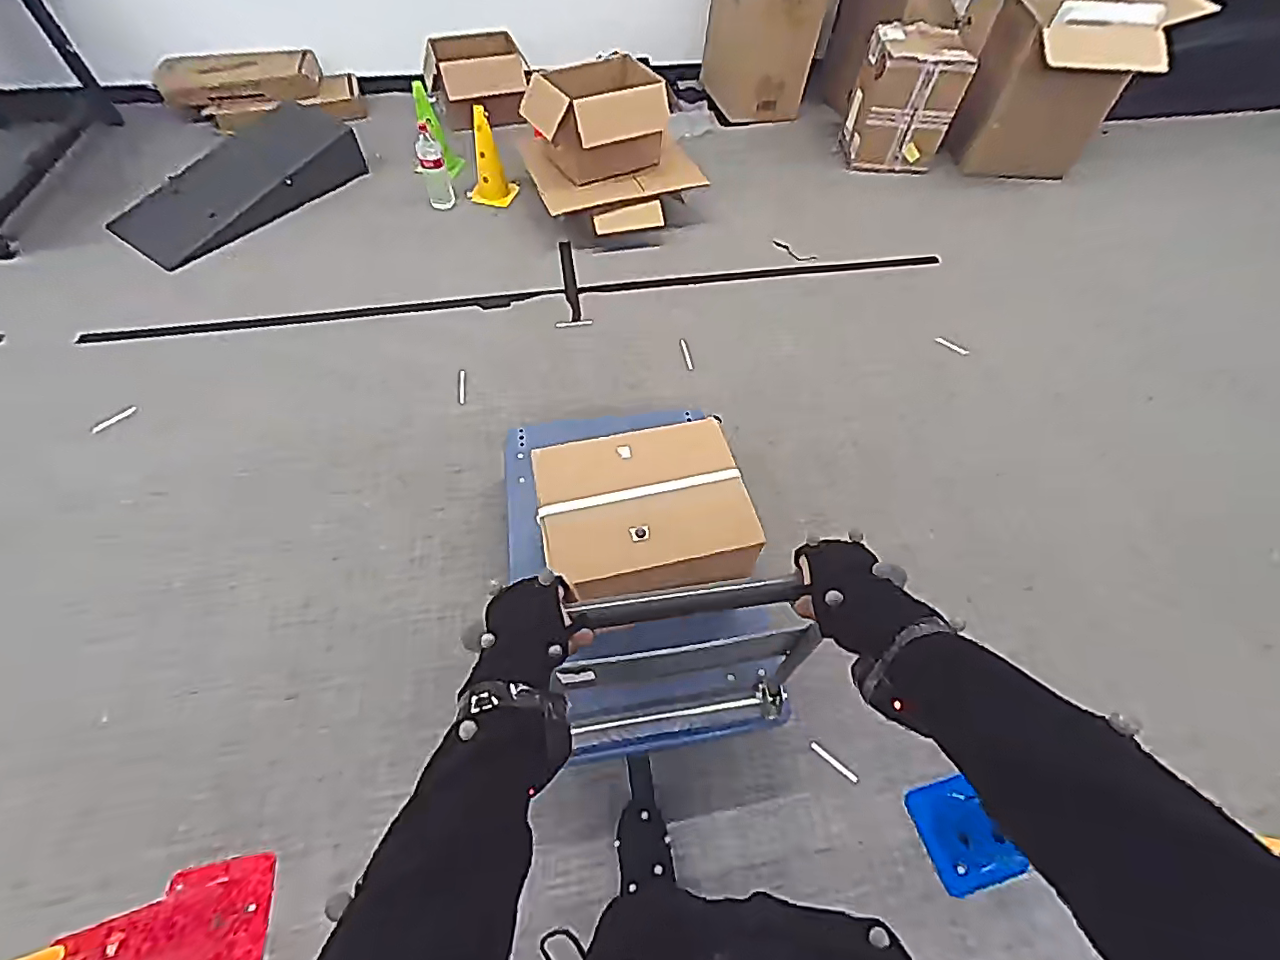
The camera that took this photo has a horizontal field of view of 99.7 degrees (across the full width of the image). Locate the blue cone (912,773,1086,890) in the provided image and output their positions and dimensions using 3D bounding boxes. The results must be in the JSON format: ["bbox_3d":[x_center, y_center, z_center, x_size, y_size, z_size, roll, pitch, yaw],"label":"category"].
[{"bbox_3d":[0.717,0.668,1.039,0.193,0.380,0.192,-10,56,-9],"label":"blue cone"}]
